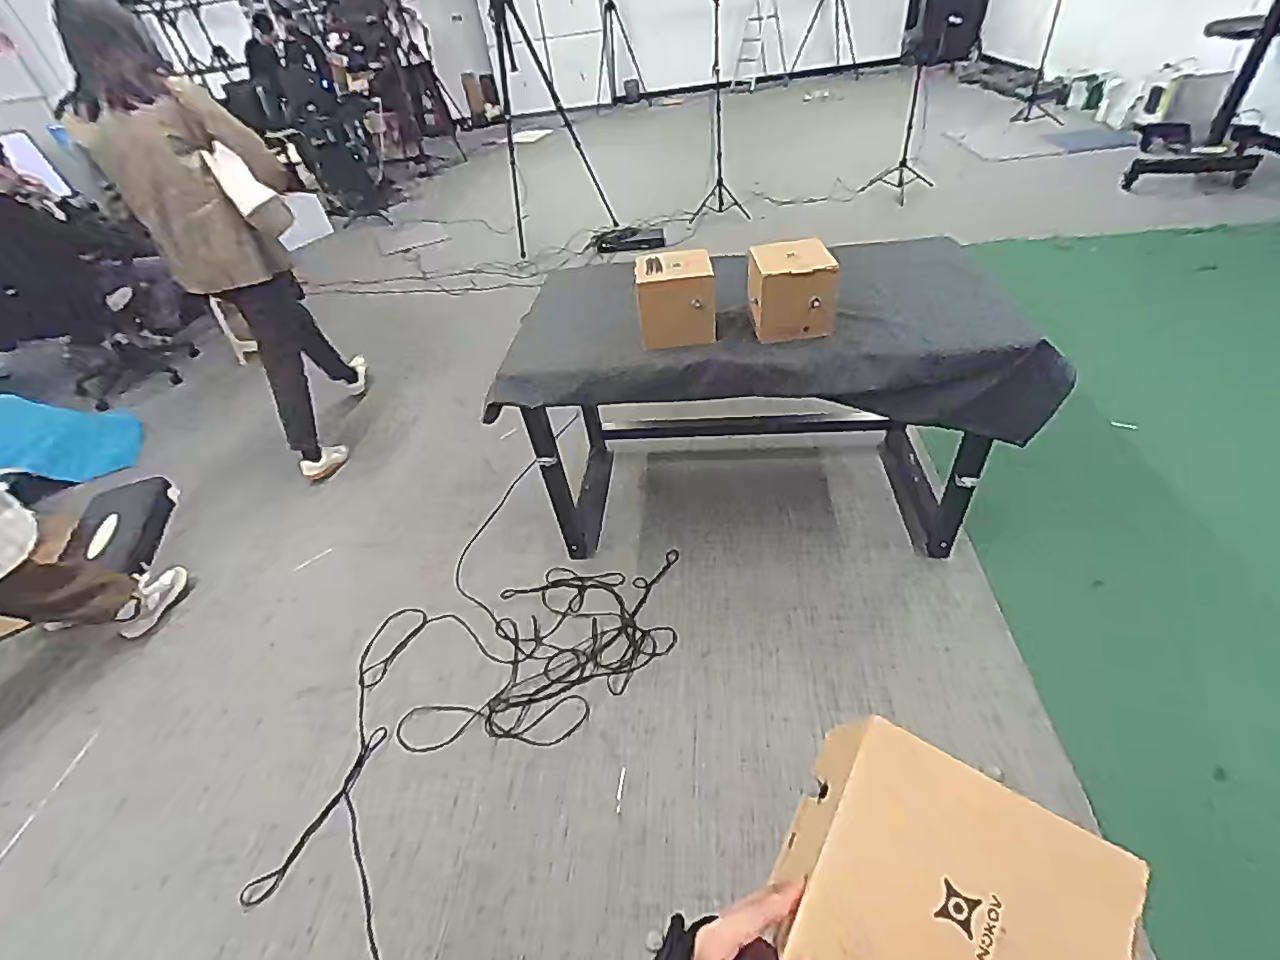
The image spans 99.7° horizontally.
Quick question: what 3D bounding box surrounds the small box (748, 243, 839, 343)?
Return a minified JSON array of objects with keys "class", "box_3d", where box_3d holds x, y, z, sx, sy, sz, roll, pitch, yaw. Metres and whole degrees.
[{"class":"small box","box_3d":[0.350,-0.430,1.262,0.168,0.176,0.179,-6,40,2]}]
